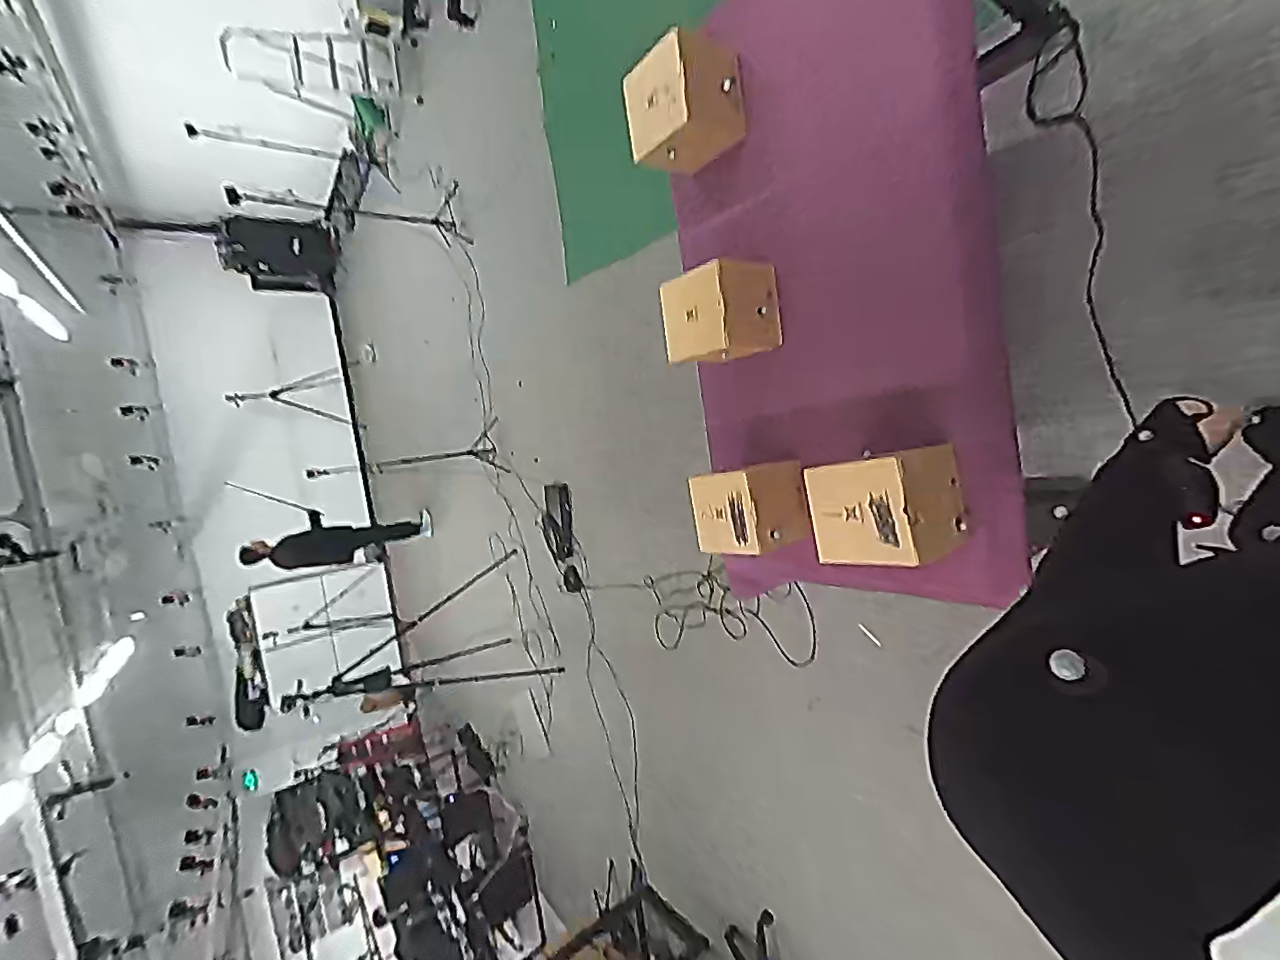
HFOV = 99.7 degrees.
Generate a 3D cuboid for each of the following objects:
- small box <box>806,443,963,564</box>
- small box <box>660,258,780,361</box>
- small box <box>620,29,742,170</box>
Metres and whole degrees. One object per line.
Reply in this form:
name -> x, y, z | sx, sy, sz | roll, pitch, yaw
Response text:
small box -> 0.414, 0.038, 0.908 | 0.179, 0.176, 0.168 | -10, 91, 56
small box -> 0.168, -0.348, 1.137 | 0.179, 0.176, 0.168 | -2, 97, 53
small box -> 0.086, -0.769, 1.118 | 0.179, 0.176, 0.168 | 0, 102, 53
